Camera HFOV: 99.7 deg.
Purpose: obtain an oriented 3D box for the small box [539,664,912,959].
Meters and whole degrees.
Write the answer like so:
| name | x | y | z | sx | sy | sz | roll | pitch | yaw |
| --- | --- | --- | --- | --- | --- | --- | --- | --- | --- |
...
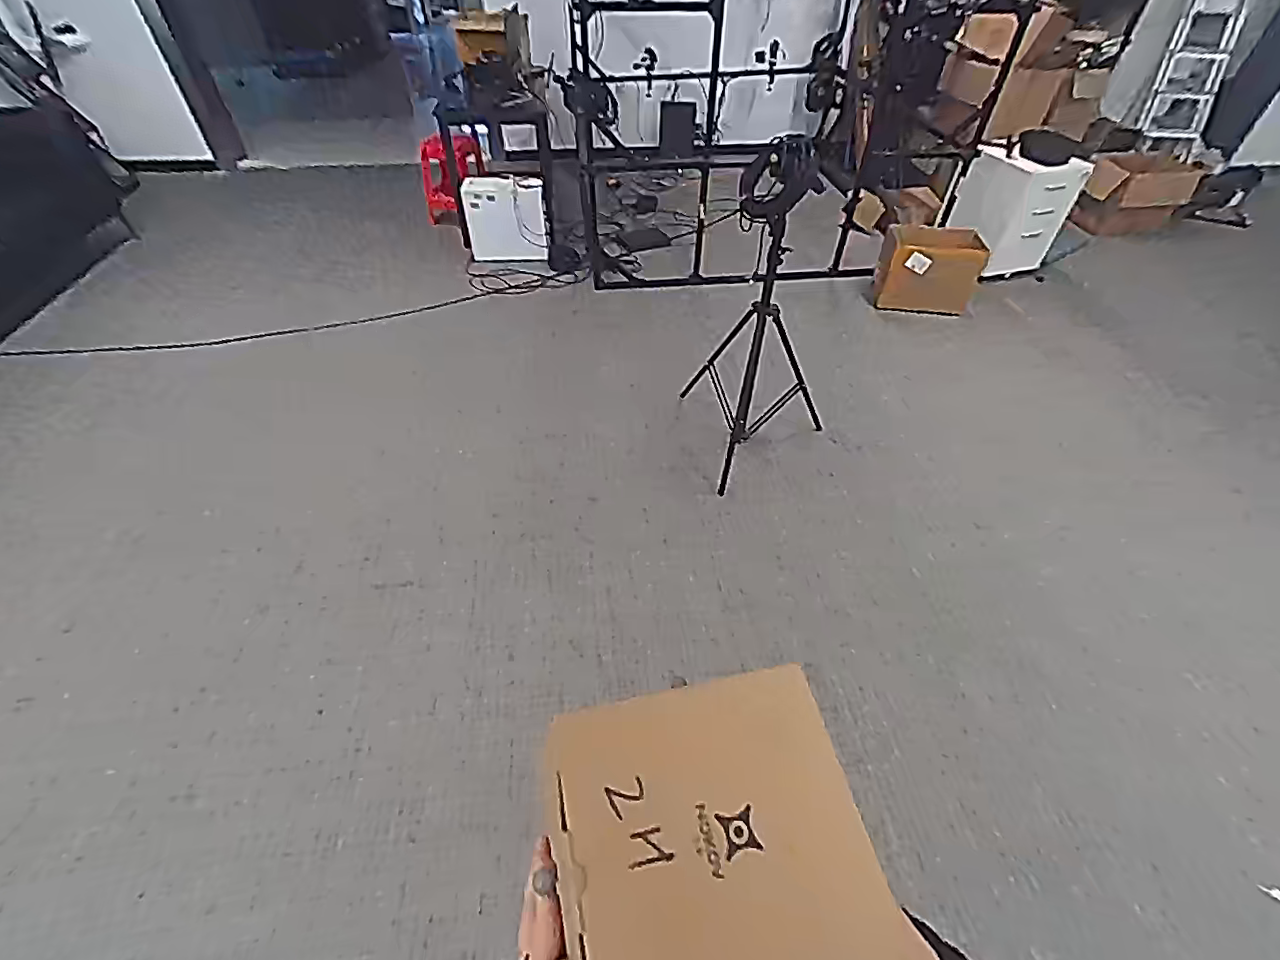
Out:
| name | x | y | z | sx | sy | sz | roll | pitch | yaw |
| --- | --- | --- | --- | --- | --- | --- | --- | --- | --- |
| small box | 0.032 | 0.244 | 0.370 | 0.179 | 0.176 | 0.168 | -5 | 56 | -17 |
